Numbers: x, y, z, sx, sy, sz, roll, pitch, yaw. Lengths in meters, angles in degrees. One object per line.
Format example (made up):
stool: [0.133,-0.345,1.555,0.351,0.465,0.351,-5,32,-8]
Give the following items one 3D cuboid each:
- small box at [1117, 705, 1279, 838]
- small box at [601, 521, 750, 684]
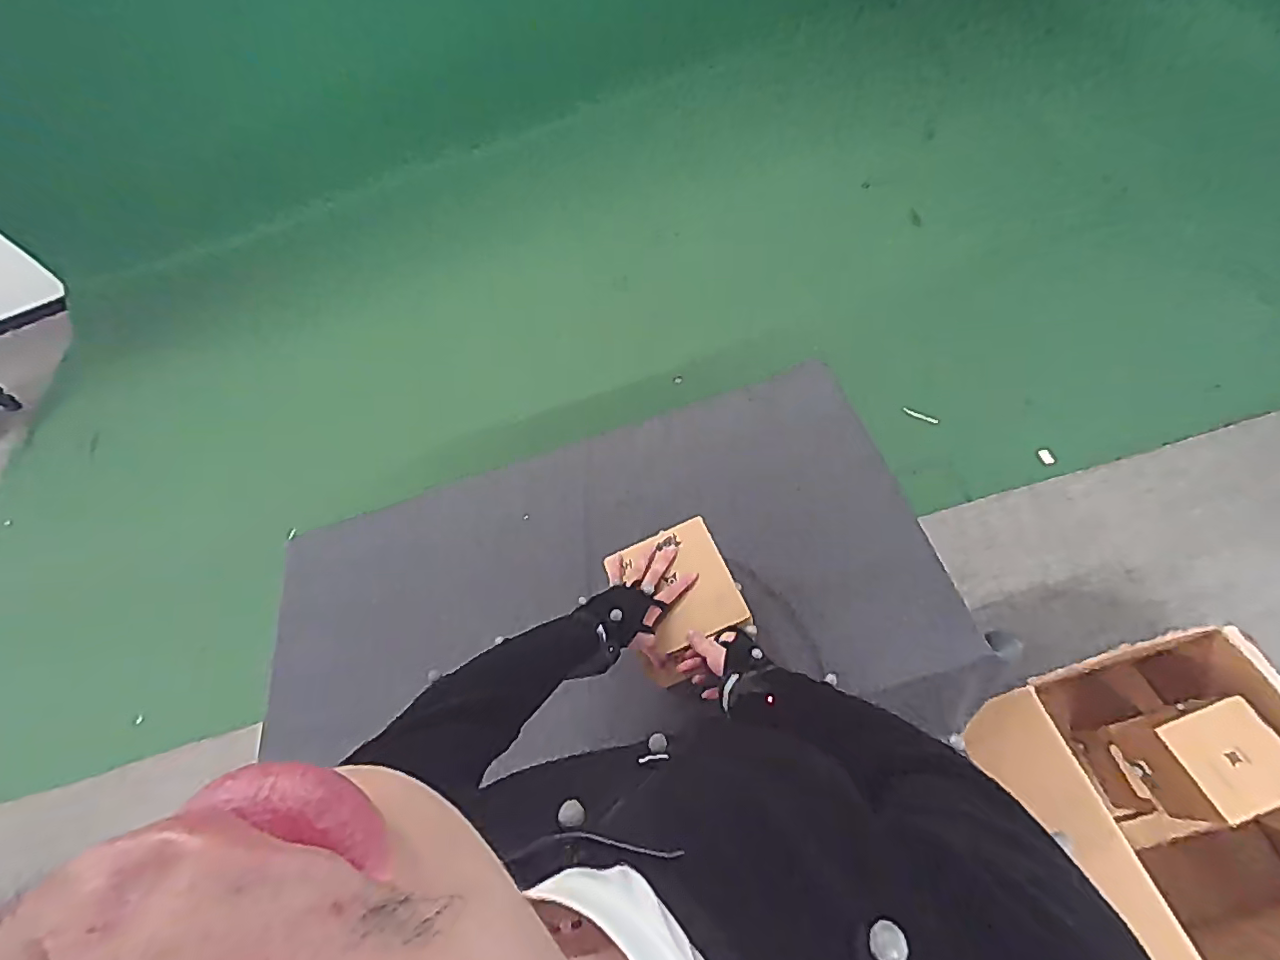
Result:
small box: [1.072,0.543,1.017,0.179,0.176,0.168,-24,59,1]
small box: [0.060,0.197,0.831,0.168,0.176,0.179,-24,57,-2]
